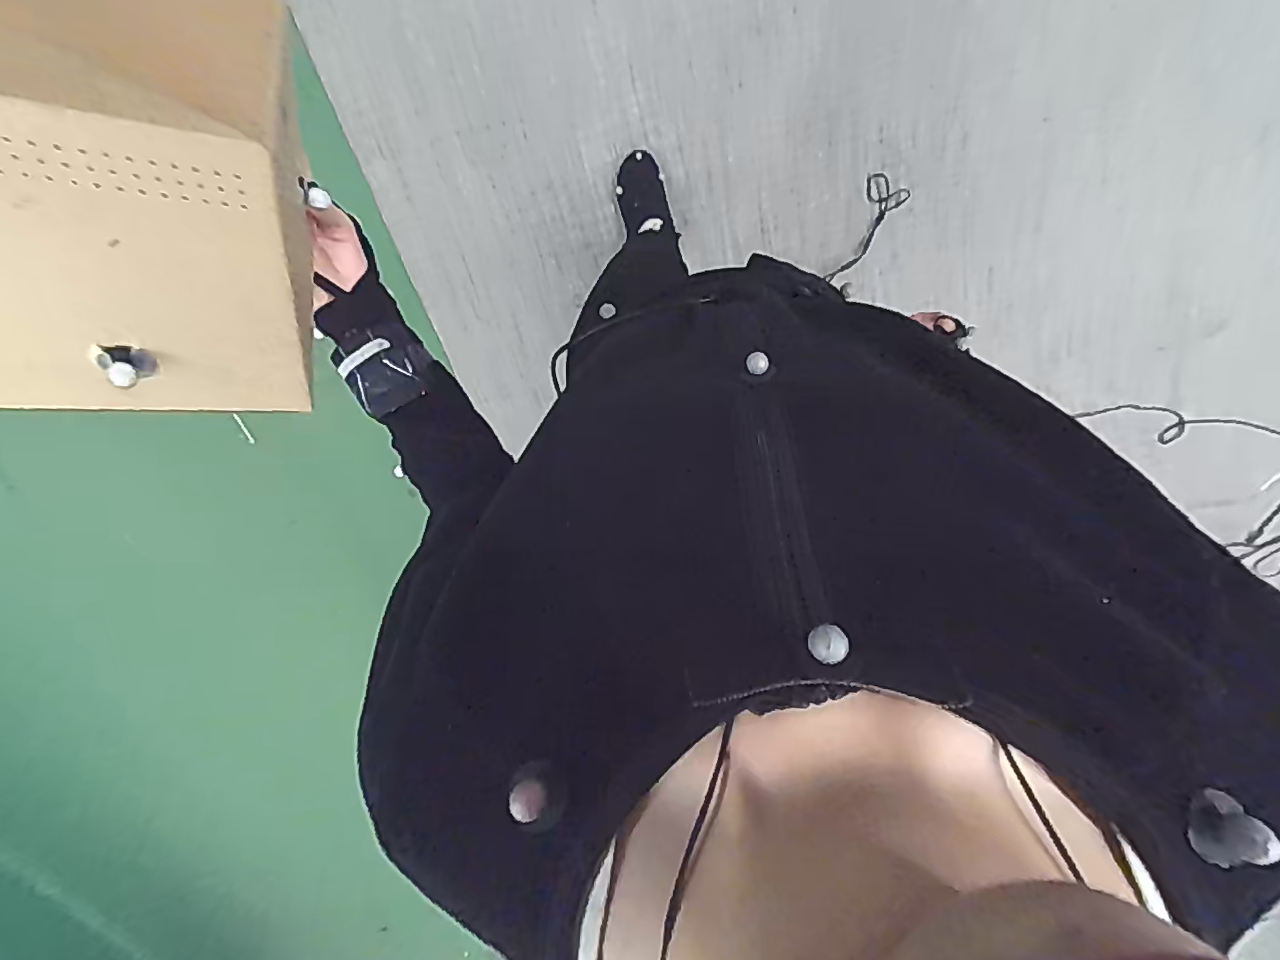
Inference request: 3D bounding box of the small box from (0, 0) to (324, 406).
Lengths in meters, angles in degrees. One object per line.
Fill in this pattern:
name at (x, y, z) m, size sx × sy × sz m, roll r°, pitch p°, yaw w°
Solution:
small box at (-0.260, -0.151, 0.256) m, size 0.179 × 0.168 × 0.176 m, roll -3°, pitch 151°, yaw -28°
